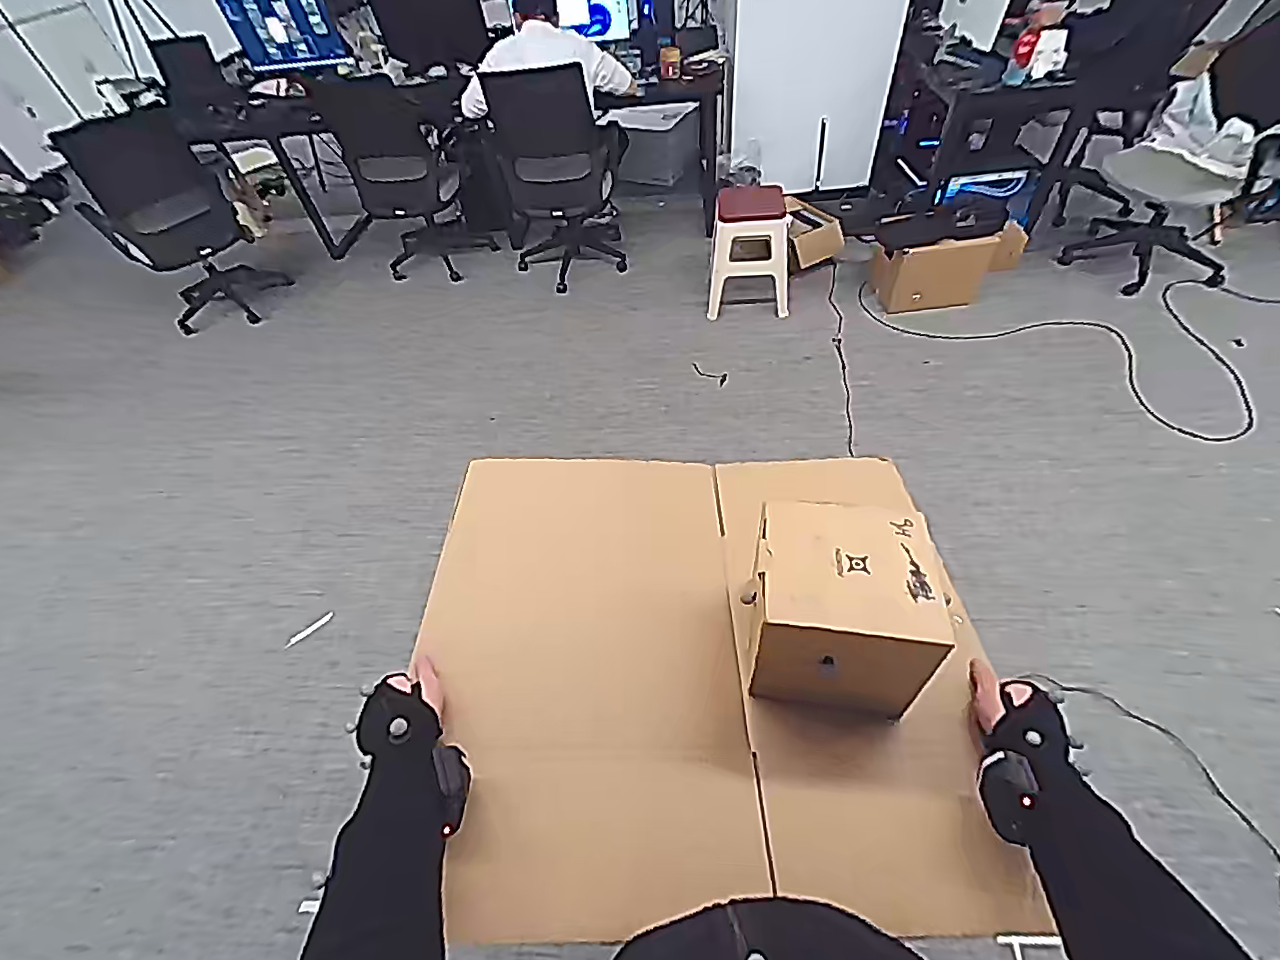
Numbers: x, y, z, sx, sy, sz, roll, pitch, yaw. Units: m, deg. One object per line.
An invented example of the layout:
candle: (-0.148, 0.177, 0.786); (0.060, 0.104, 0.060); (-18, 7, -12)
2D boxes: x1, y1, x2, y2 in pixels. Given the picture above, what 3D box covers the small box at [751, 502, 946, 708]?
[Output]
small box: (0.223, 0.146, 0.629); (0.179, 0.176, 0.168); (4, 47, 10)
